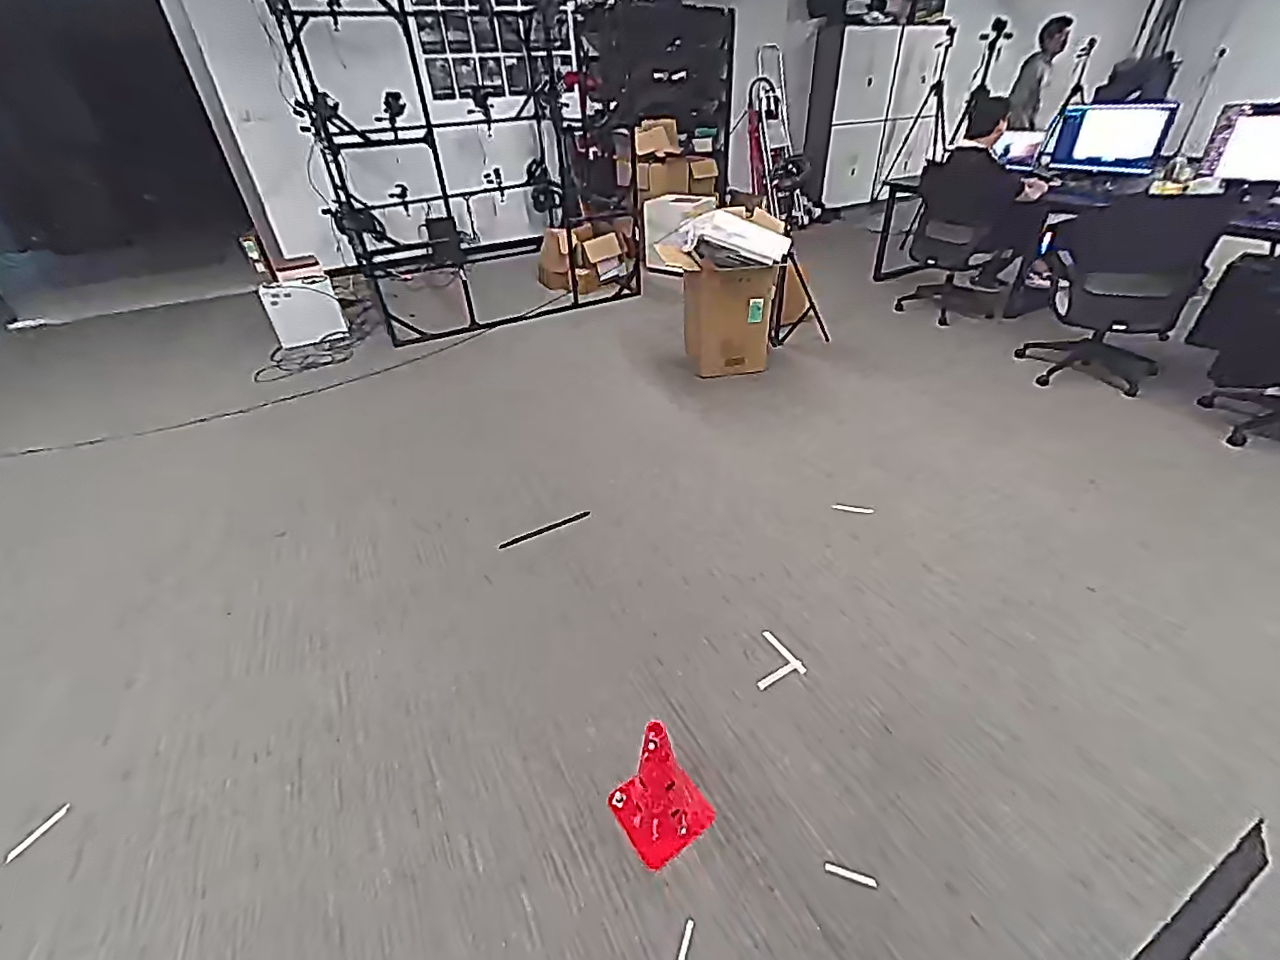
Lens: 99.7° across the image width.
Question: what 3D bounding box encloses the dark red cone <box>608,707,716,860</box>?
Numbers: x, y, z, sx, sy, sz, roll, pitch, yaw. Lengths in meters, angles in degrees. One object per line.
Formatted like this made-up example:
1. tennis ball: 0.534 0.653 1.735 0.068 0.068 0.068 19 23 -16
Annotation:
1. dark red cone: 0.043 0.626 1.185 0.202 0.394 0.201 -25 42 -27
